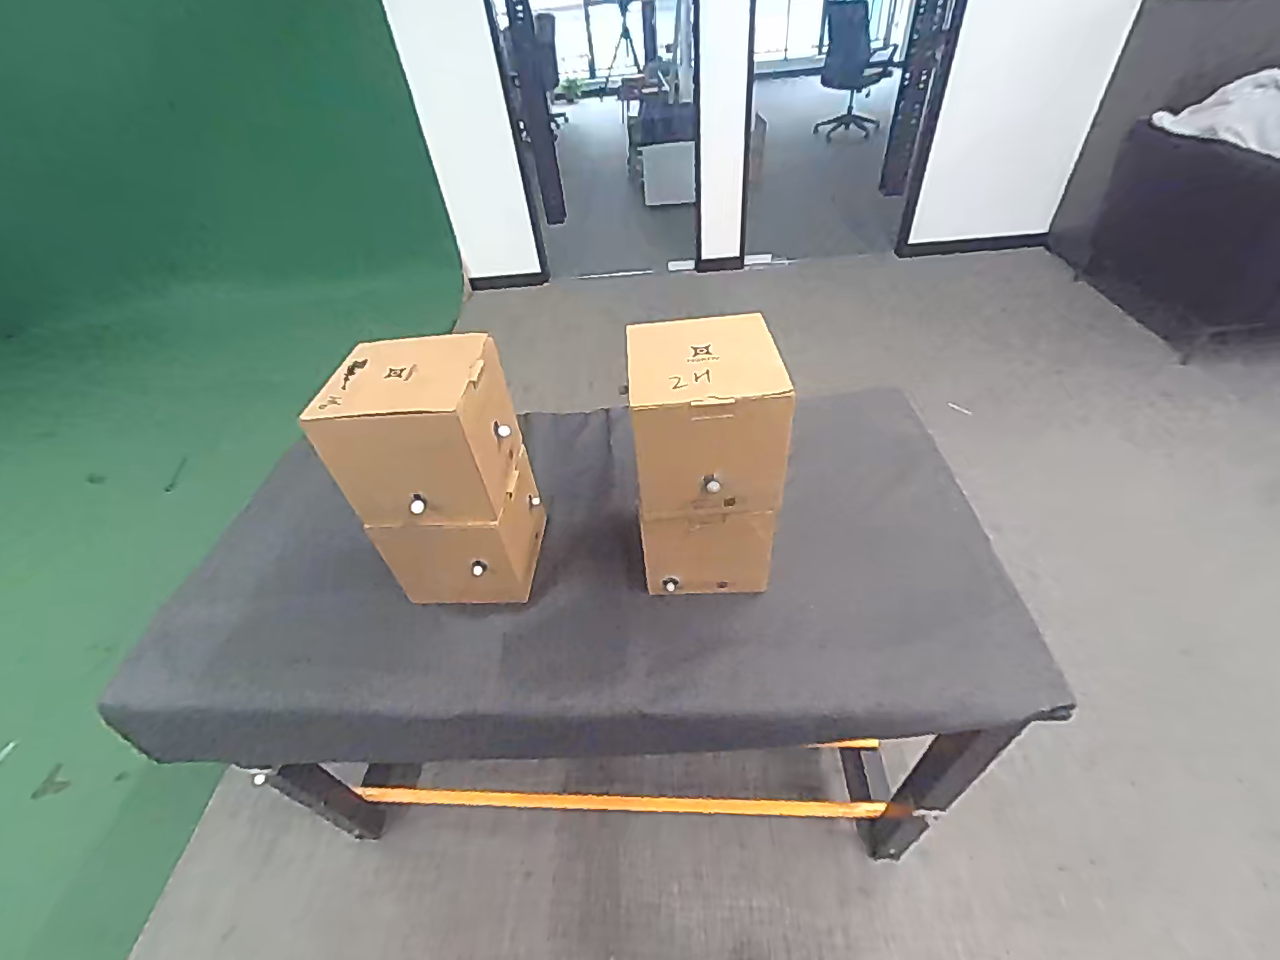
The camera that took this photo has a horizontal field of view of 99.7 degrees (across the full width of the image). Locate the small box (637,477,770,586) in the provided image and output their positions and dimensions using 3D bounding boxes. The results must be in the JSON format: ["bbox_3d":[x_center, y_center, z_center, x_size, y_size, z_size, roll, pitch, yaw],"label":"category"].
[{"bbox_3d":[0.086,0.039,0.770,0.168,0.176,0.179,-2,42,3],"label":"small box"}]

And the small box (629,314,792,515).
[{"bbox_3d":[0.075,-0.080,0.656,0.168,0.176,0.179,-5,43,2],"label":"small box"}]

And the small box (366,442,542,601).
[{"bbox_3d":[-0.250,0.062,0.784,0.179,0.176,0.168,-2,42,5],"label":"small box"}]

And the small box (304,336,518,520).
[{"bbox_3d":[-0.264,-0.063,0.679,0.179,0.176,0.168,-2,42,3],"label":"small box"}]
